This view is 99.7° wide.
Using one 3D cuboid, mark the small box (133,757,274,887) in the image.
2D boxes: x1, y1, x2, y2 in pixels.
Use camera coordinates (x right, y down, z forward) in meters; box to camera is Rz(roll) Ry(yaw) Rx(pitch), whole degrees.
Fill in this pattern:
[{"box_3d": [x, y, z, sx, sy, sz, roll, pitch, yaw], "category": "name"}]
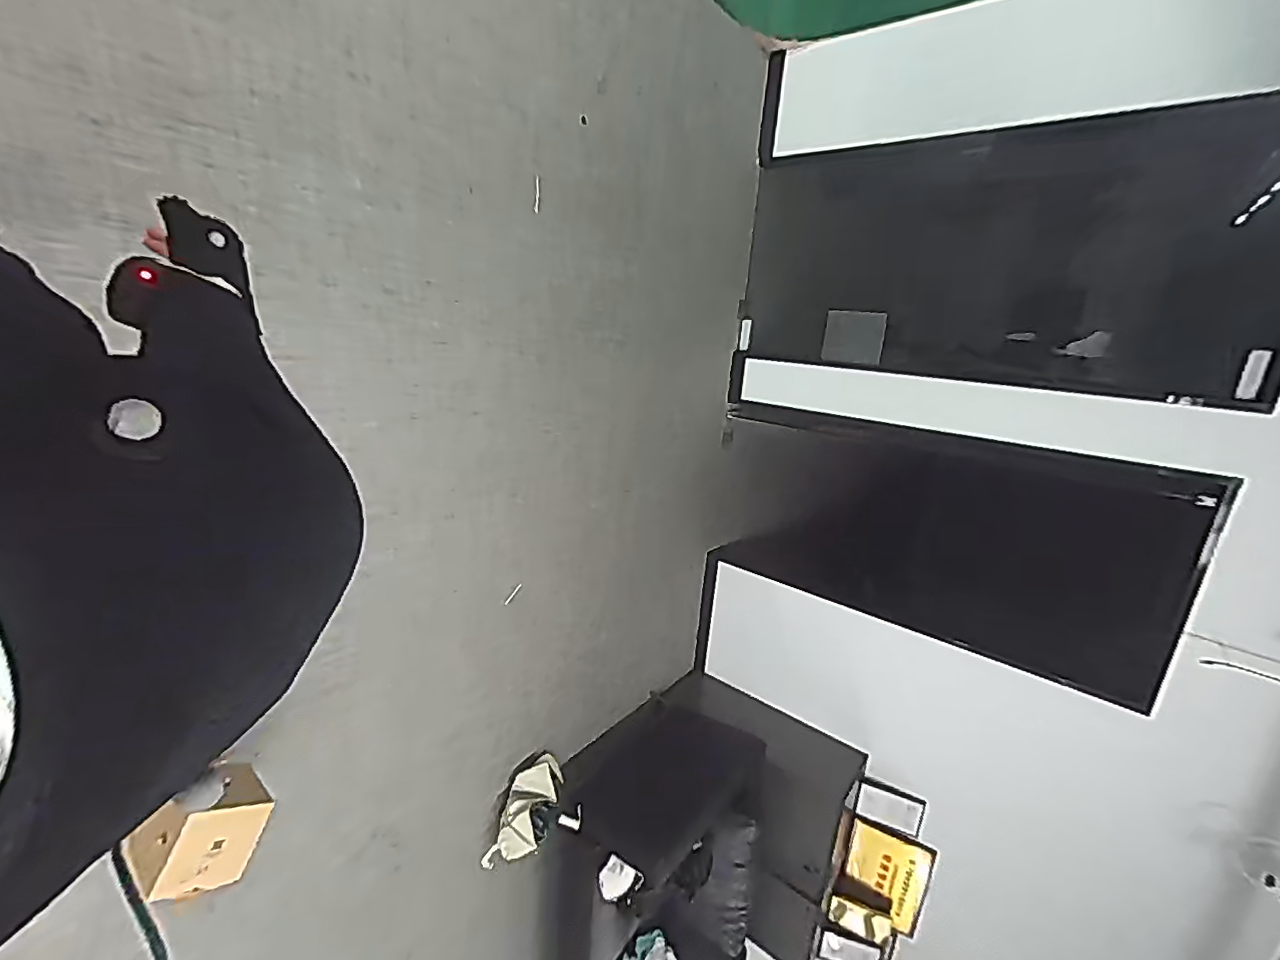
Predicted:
[{"box_3d": [-0.957, 0.730, 1.184, 0.168, 0.176, 0.179, 34, 77, -54], "category": "small box"}]
